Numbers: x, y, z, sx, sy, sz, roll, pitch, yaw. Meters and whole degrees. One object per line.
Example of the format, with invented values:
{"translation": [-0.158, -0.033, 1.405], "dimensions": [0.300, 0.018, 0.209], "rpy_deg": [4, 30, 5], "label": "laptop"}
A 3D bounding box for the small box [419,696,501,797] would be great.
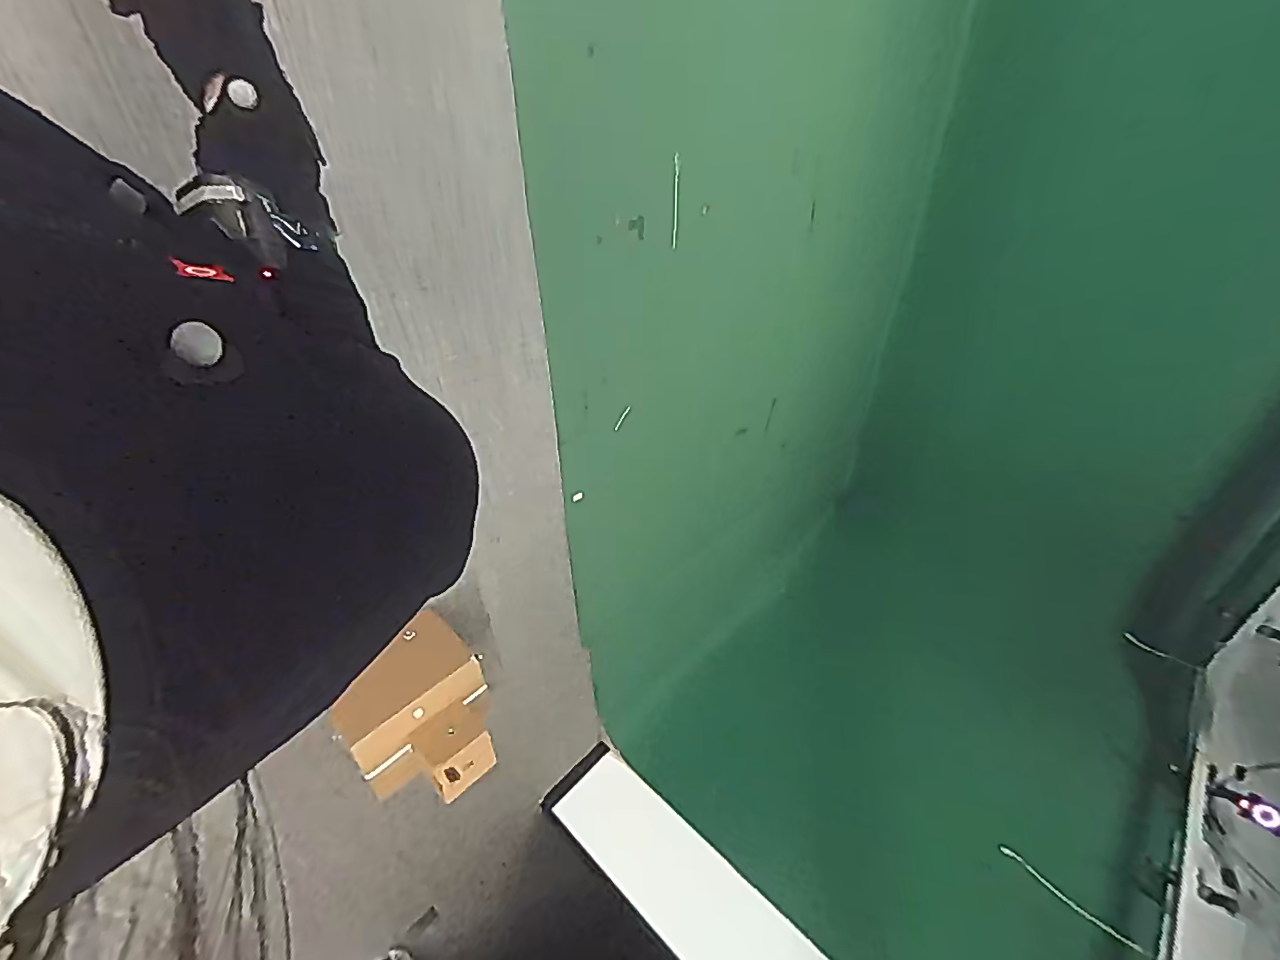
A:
{"translation": [-0.553, 0.803, 1.647], "dimensions": [0.179, 0.176, 0.168], "rpy_deg": [-27, 128, -40], "label": "small box"}
